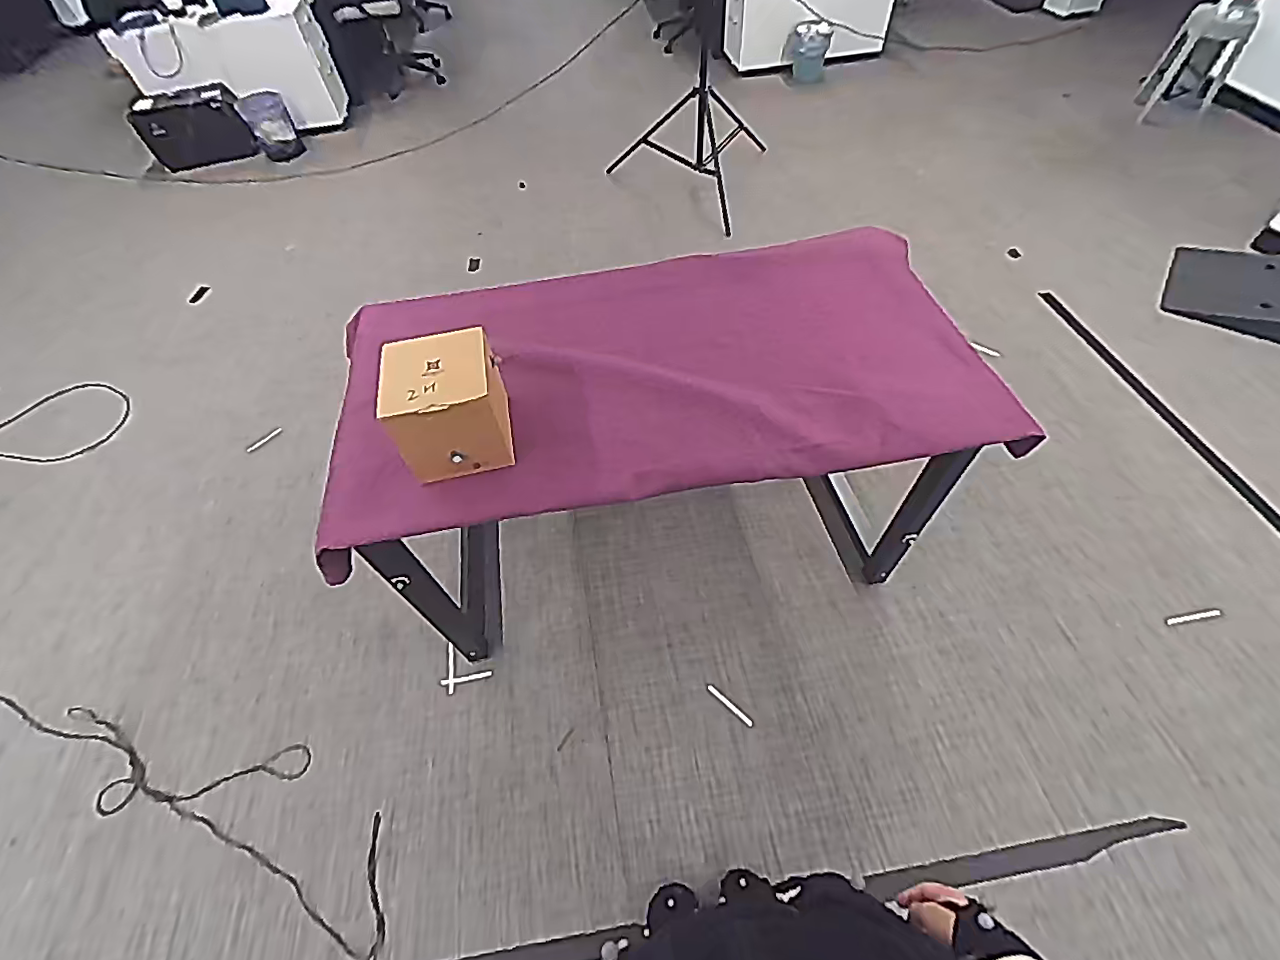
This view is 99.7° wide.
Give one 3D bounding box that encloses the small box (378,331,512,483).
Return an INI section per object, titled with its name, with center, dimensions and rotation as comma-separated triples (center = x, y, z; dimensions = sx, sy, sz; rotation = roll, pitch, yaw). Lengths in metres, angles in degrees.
[small box]
center = -0.321, -0.122, 0.918
dimensions = 0.168, 0.176, 0.179
rotation = -12, 54, -5
